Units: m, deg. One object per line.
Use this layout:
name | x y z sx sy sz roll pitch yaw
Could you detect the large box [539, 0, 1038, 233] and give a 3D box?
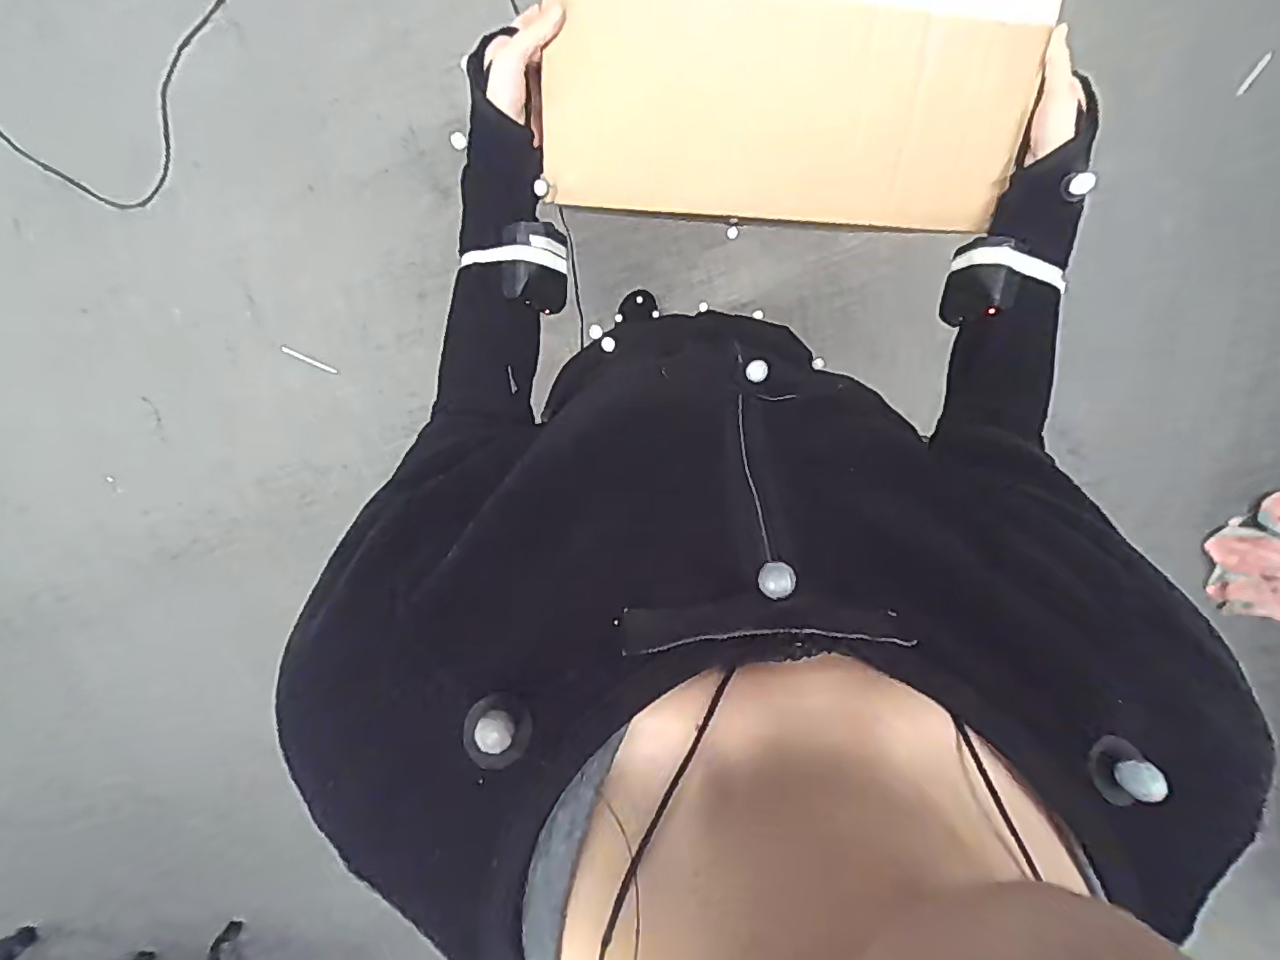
large box | 0.114 -0.434 0.564 0.408 0.320 0.320 1 113 -3
